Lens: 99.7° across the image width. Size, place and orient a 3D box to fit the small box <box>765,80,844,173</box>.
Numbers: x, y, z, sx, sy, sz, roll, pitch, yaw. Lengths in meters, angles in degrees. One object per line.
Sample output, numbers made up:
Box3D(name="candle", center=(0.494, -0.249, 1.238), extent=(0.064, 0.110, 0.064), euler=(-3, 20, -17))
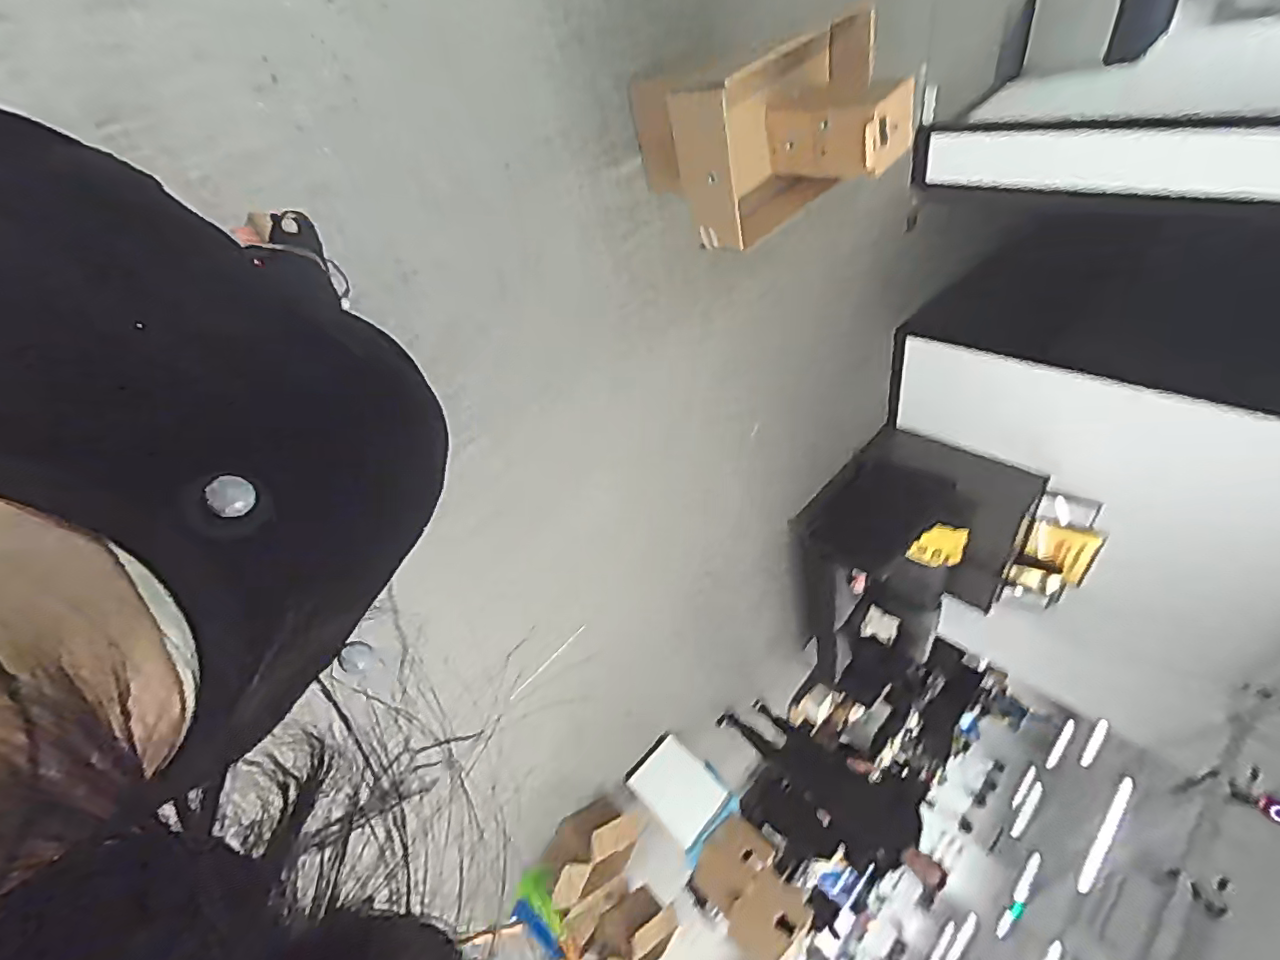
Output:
Box3D(name="small box", center=(0.465, -0.986, 1.514), extent=(0.179, 0.176, 0.168), euler=(-42, 139, -16))

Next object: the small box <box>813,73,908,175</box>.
Box3D(name="small box", center=(0.565, -0.919, 1.401), extent=(0.179, 0.176, 0.168), euler=(-44, 139, -16))
